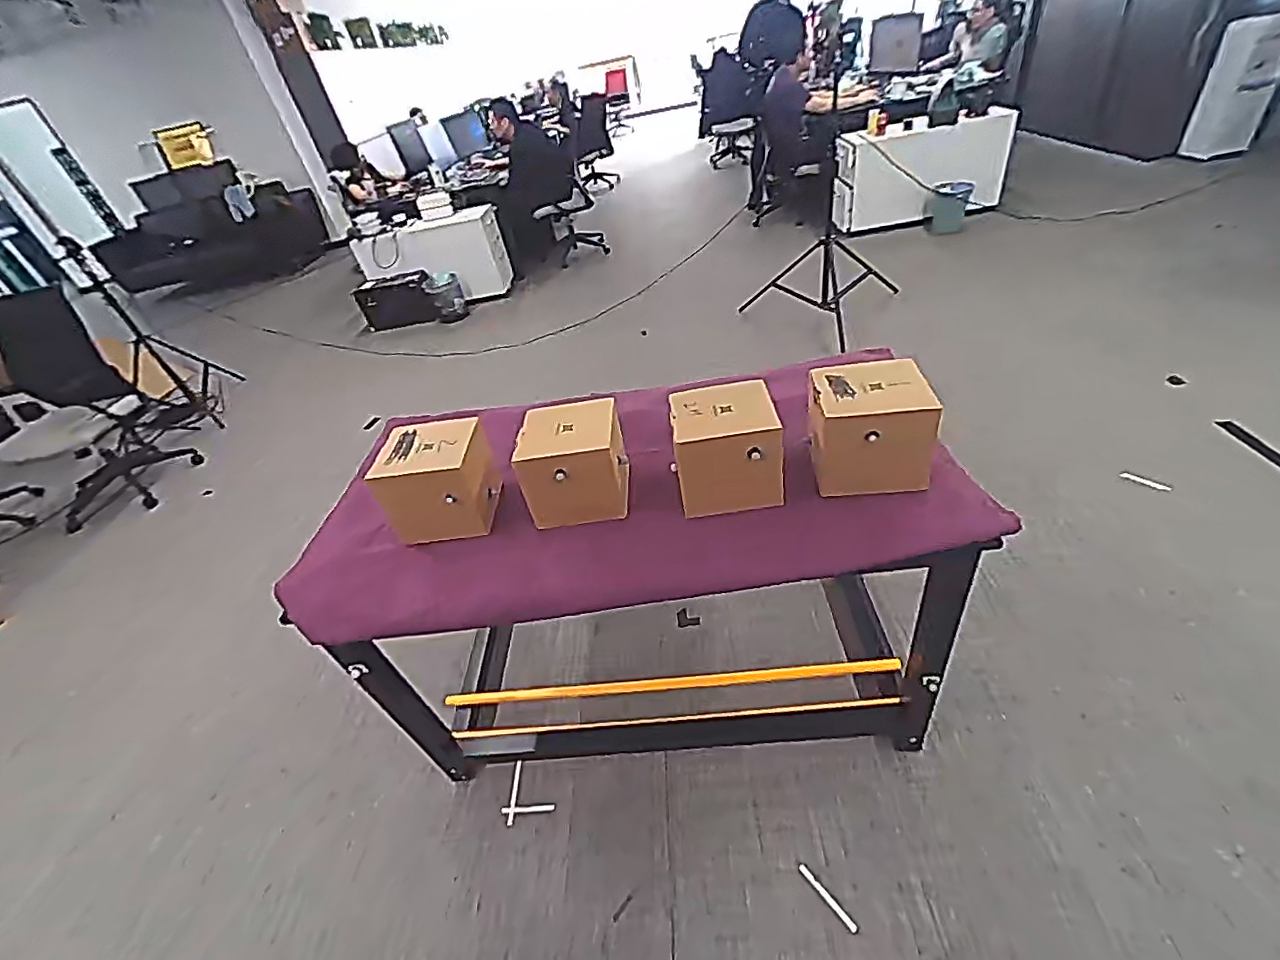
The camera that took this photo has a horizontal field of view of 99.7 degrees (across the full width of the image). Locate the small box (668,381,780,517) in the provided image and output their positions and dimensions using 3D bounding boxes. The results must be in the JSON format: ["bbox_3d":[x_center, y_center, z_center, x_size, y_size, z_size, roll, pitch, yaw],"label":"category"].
[{"bbox_3d":[0.150,-0.054,0.972,0.179,0.176,0.168,-9,37,6],"label":"small box"}]

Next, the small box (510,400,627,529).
[{"bbox_3d":[-0.123,-0.026,1.024,0.179,0.176,0.168,-8,39,7],"label":"small box"}]

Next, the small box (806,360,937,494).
[{"bbox_3d":[0.391,-0.089,0.944,0.179,0.176,0.168,-5,38,11],"label":"small box"}]
